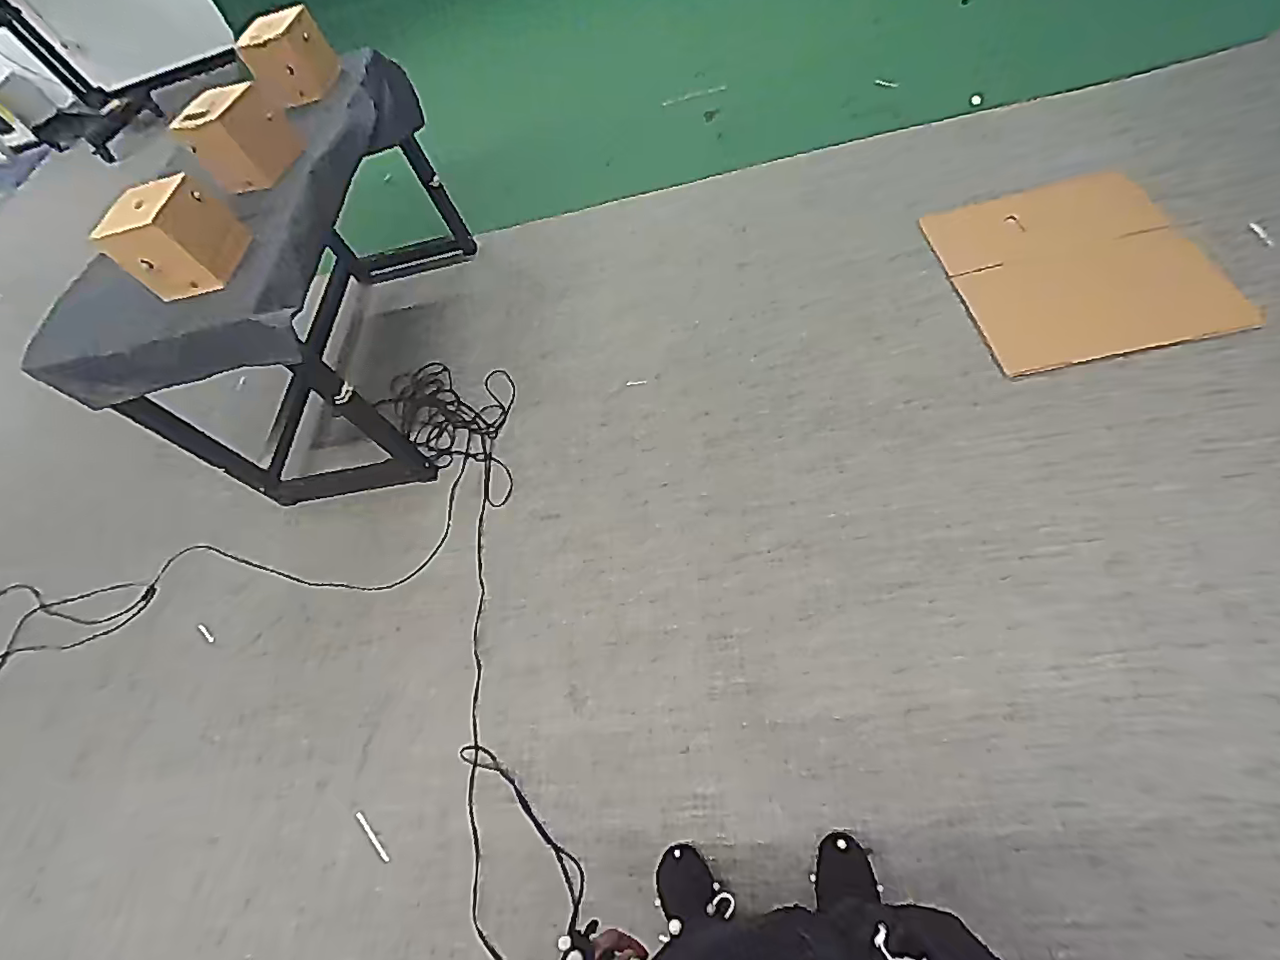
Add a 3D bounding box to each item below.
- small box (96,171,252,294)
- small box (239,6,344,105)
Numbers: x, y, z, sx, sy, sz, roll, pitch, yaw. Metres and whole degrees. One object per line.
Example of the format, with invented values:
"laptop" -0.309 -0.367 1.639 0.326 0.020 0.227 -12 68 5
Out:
"small box" -1.001 -0.529 1.181 0.168 0.176 0.179 -7 59 12
"small box" -1.012 -1.237 1.589 0.168 0.176 0.179 -3 60 12
